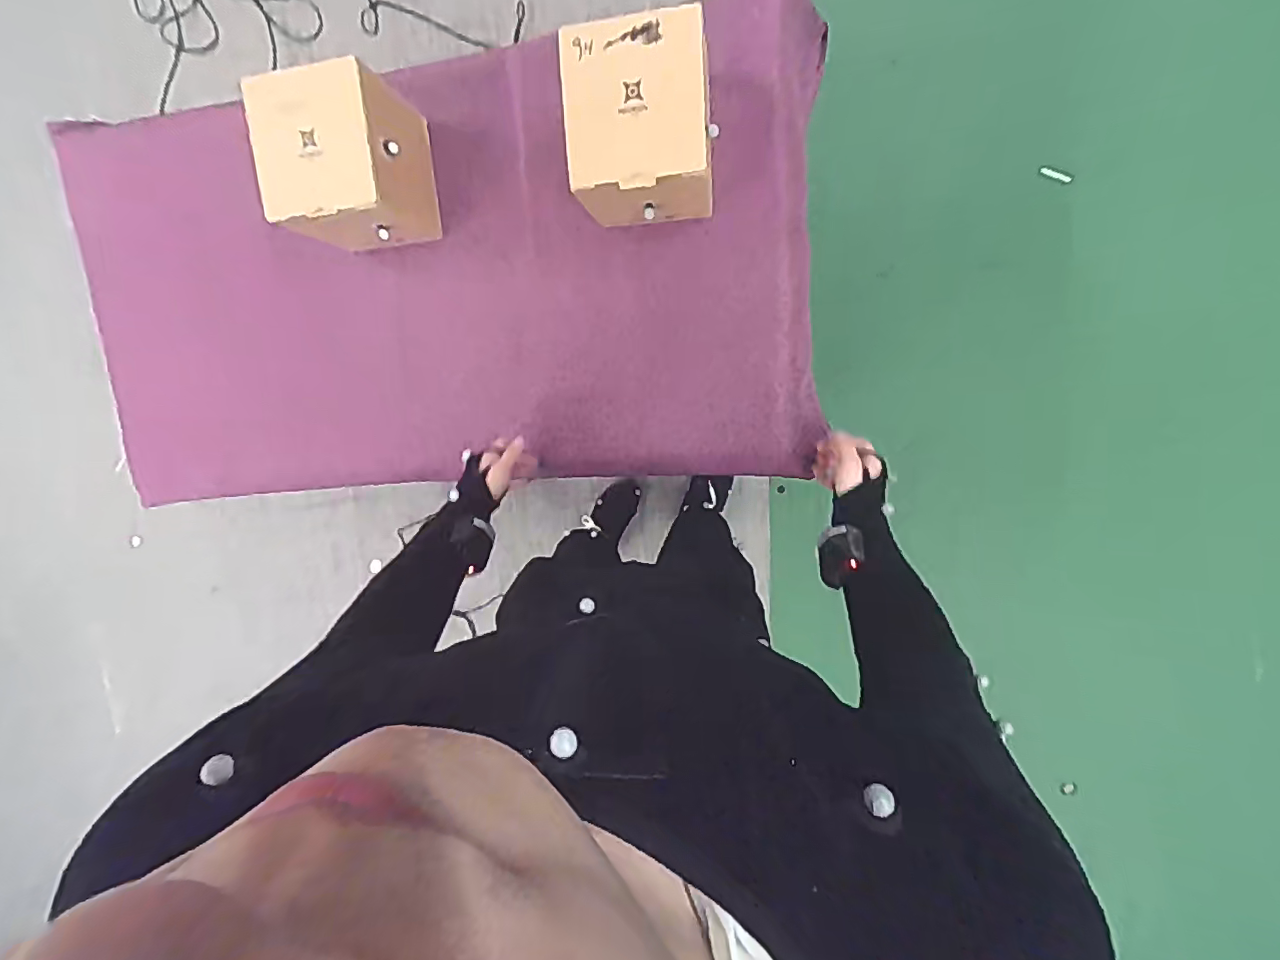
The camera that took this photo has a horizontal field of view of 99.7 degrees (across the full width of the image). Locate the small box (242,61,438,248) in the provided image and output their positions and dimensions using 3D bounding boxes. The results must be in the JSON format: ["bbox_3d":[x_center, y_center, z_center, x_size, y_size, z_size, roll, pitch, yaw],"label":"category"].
[{"bbox_3d":[-0.408,-0.441,0.768,0.168,0.176,0.179,-3,99,10],"label":"small box"}]

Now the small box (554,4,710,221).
[{"bbox_3d":[0.001,-0.447,0.694,0.168,0.176,0.179,-2,101,10],"label":"small box"}]
